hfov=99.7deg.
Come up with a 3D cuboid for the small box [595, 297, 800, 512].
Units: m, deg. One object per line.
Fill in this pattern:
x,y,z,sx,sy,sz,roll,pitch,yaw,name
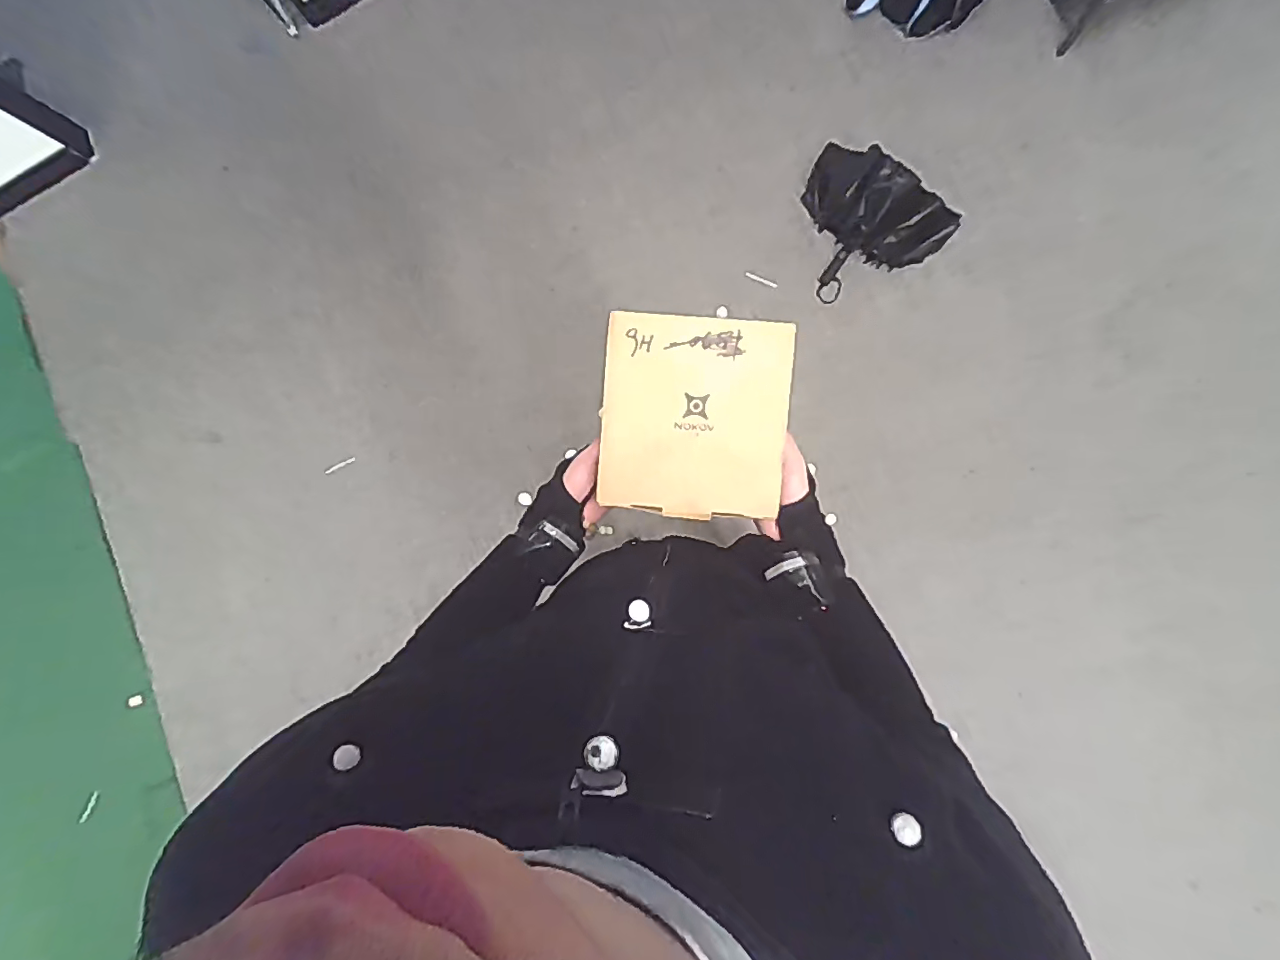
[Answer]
0.051,-0.071,0.549,0.168,0.176,0.179,5,95,1,small box
